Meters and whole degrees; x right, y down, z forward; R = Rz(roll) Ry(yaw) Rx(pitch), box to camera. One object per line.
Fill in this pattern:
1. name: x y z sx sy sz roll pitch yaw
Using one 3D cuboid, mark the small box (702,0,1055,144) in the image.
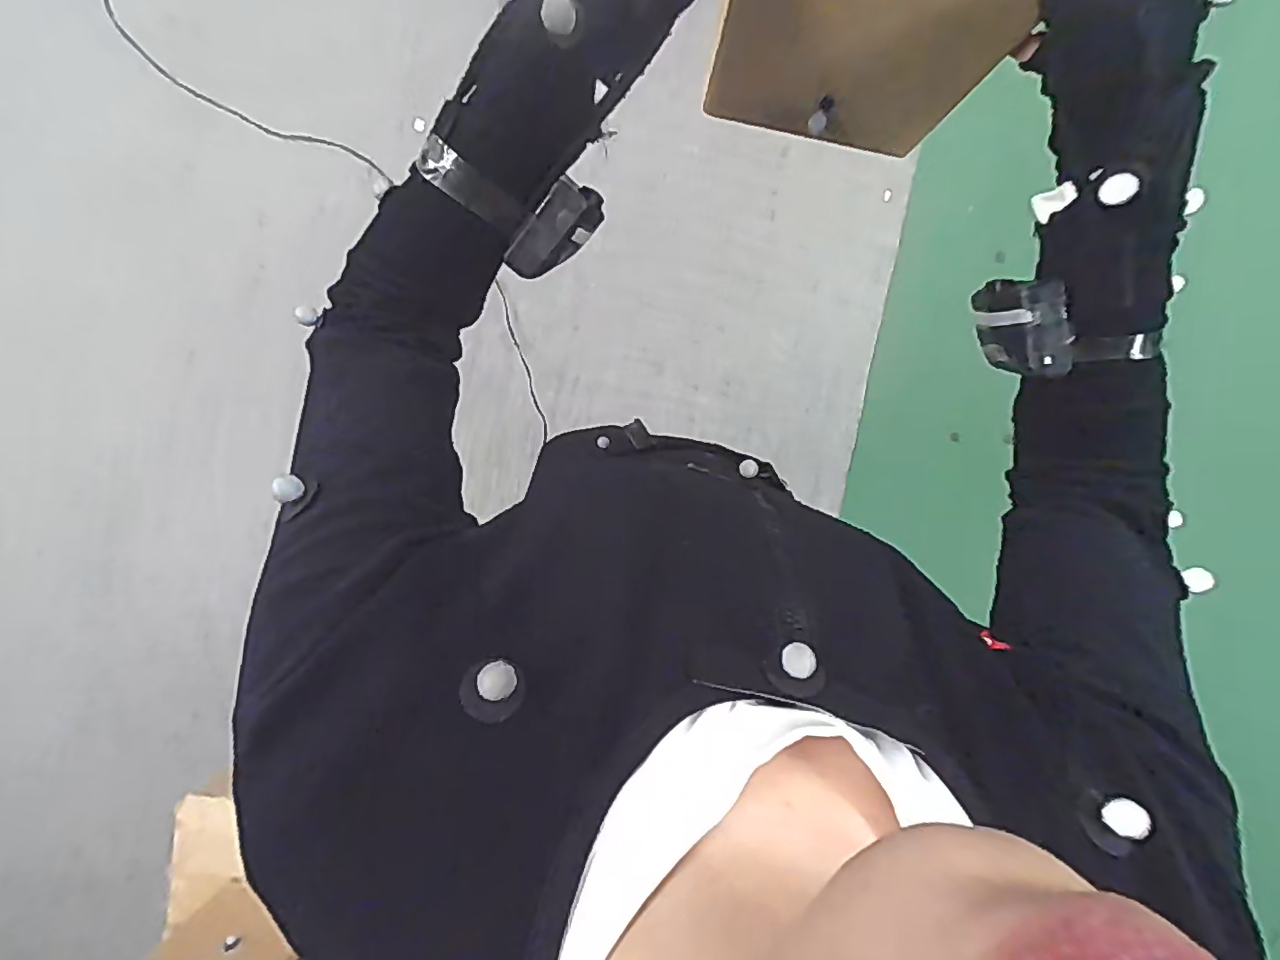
1. small box: 0.152 -0.359 0.360 0.179 0.176 0.168 10 94 -3
